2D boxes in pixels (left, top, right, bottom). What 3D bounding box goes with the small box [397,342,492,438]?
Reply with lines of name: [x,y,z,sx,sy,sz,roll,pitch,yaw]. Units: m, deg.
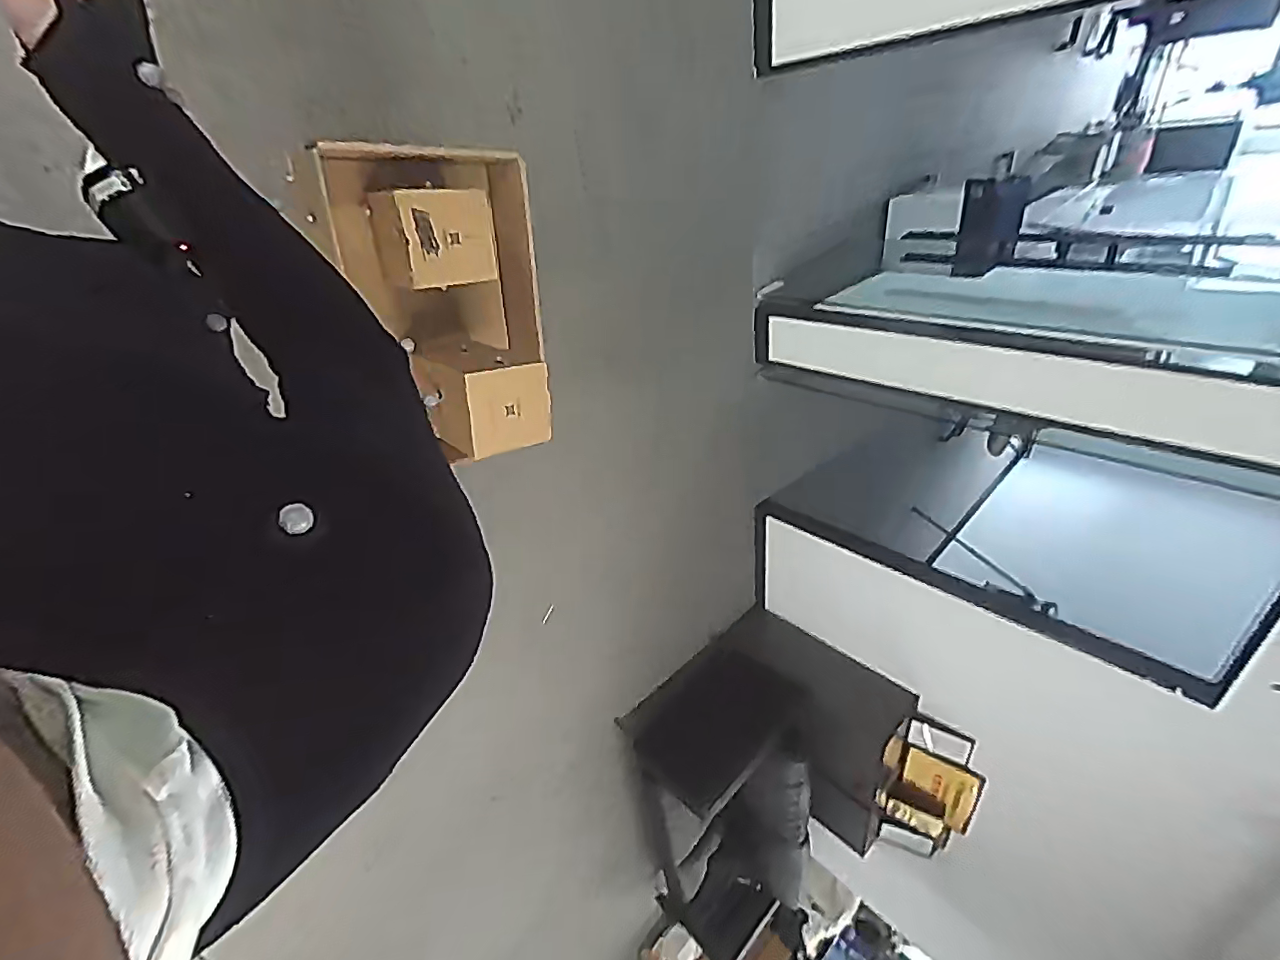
small box: [-0.413,-0.208,1.201,0.179,0.176,0.168,-19,121,-39]

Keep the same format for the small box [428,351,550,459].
small box: [-0.302,-0.160,1.092,0.179,0.176,0.168,-20,122,-39]
